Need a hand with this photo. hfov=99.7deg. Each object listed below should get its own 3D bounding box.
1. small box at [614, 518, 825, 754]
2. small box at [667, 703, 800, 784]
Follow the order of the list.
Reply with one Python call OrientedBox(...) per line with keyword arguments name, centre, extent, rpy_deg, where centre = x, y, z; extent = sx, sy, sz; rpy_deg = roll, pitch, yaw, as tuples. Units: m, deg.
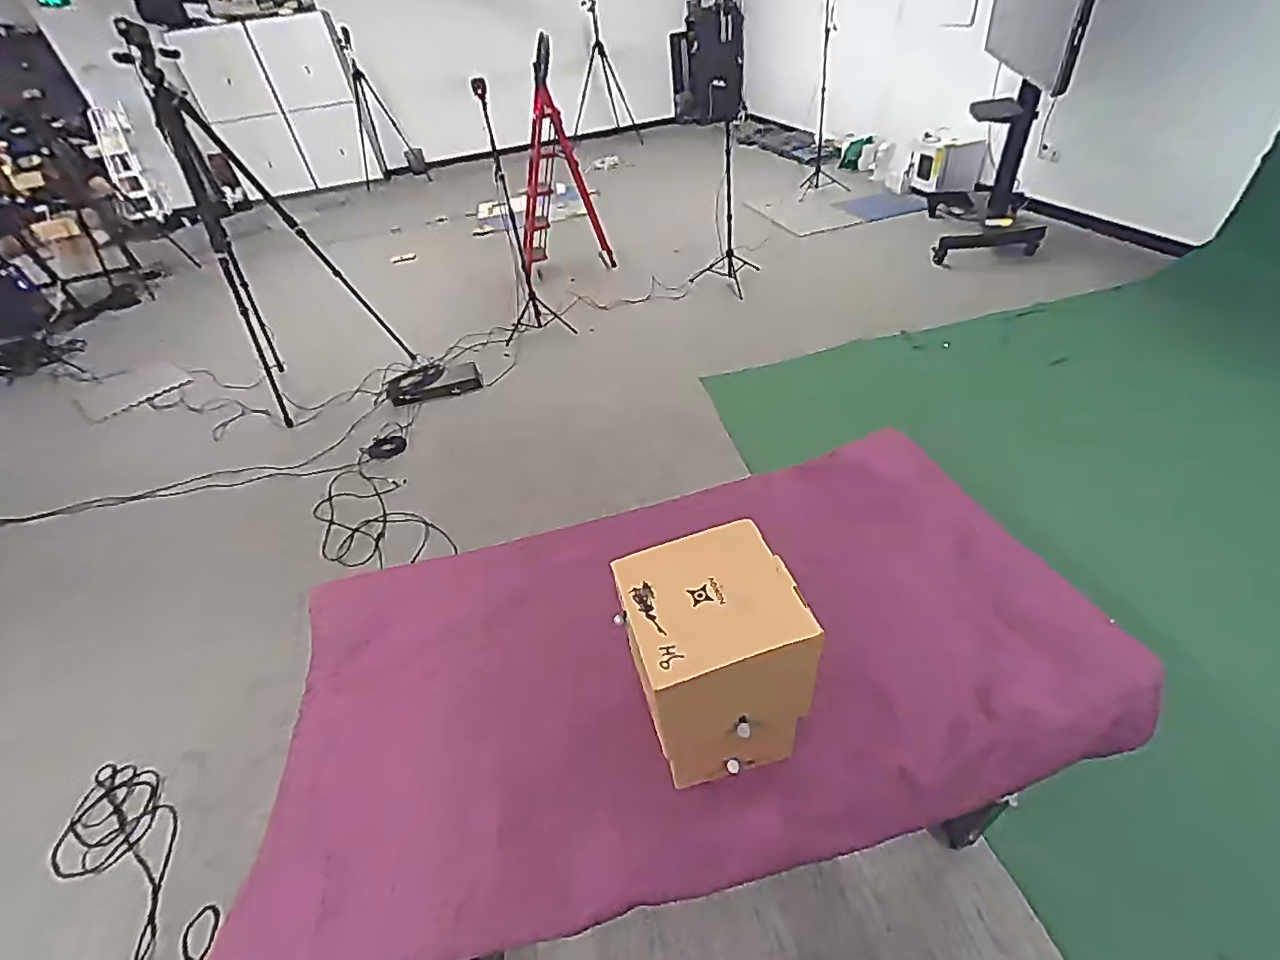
OrientedBox(name="small box", centre=(0.080, 0.174, 0.608), extent=(0.179, 0.176, 0.168), rpy_deg=(-15, 42, -7))
OrientedBox(name="small box", centre=(0.101, 0.277, 0.737), extent=(0.168, 0.176, 0.179), rpy_deg=(-13, 42, -4))
